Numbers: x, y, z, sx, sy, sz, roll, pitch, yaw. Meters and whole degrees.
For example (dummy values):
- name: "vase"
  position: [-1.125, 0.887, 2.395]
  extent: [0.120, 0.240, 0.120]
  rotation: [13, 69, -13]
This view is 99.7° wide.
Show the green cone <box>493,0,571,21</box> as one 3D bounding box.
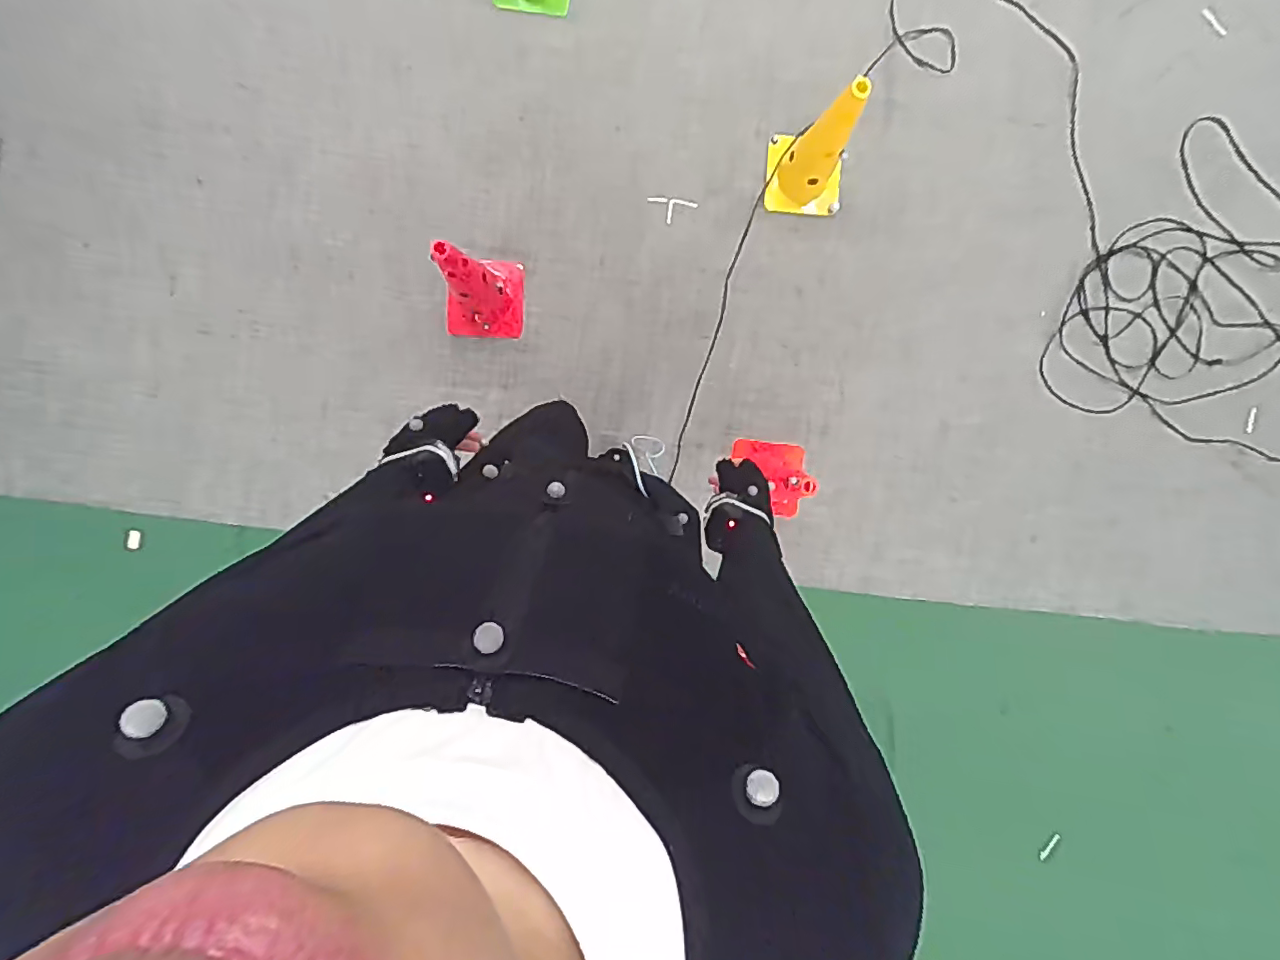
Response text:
- name: "green cone"
  position: [-0.267, -1.300, 1.237]
  extent: [0.202, 0.368, 0.200]
  rotation: [5, 93, -3]

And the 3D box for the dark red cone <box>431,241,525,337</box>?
- name: "dark red cone"
  position: [-0.399, -0.463, 1.246]
  extent: [0.202, 0.394, 0.201]
  rotation: [1, 94, -2]

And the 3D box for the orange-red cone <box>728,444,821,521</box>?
- name: "orange-red cone"
  position: [0.354, 0.012, 1.313]
  extent: [0.198, 0.360, 0.199]
  rotation: [7, 91, -3]
